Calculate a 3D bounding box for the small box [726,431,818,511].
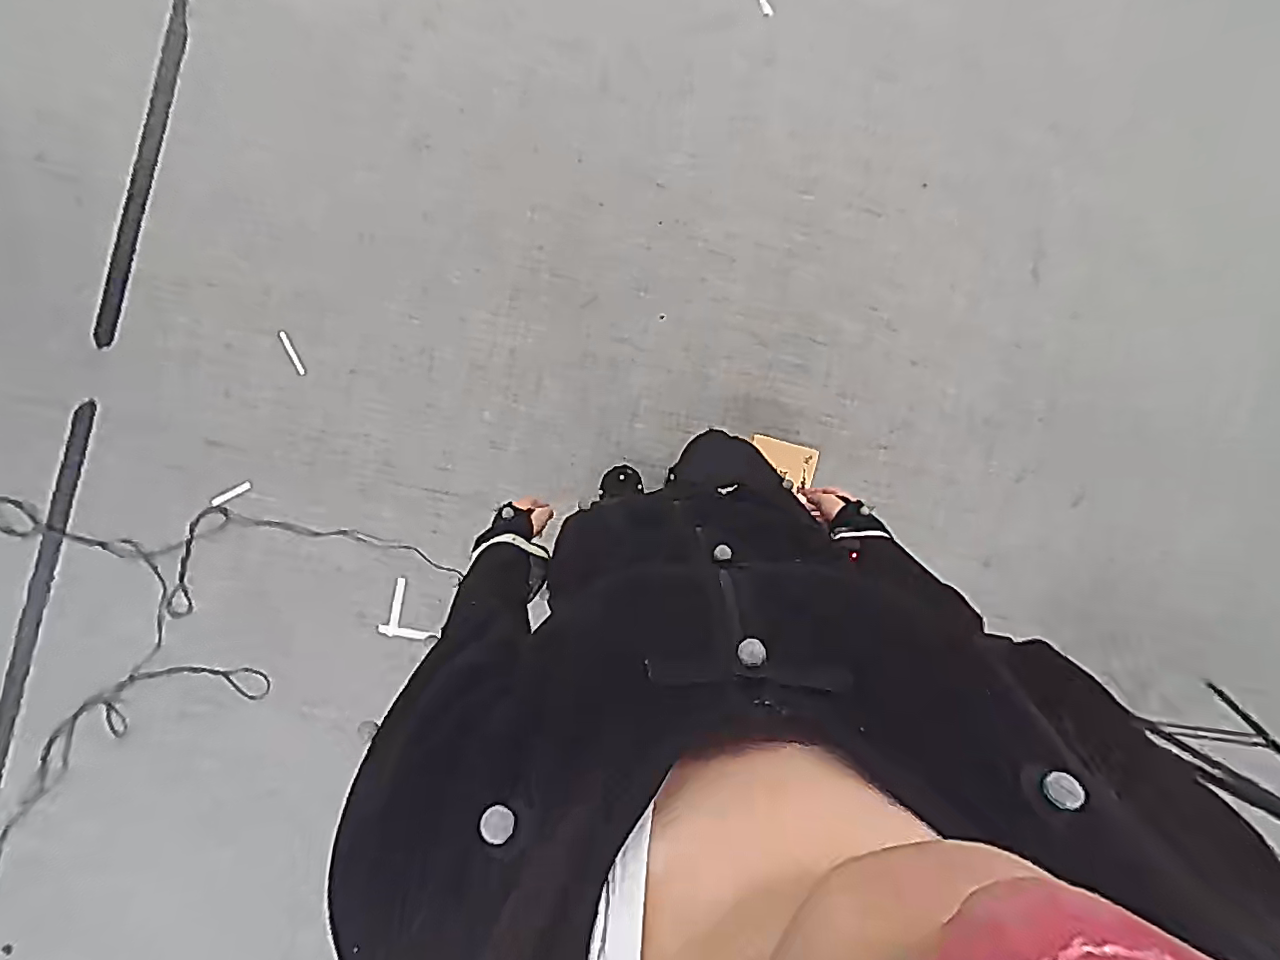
[{"bbox_3d":[0.342,-0.023,1.438,0.179,0.176,0.168,16,91,-4],"label":"small box"}]
